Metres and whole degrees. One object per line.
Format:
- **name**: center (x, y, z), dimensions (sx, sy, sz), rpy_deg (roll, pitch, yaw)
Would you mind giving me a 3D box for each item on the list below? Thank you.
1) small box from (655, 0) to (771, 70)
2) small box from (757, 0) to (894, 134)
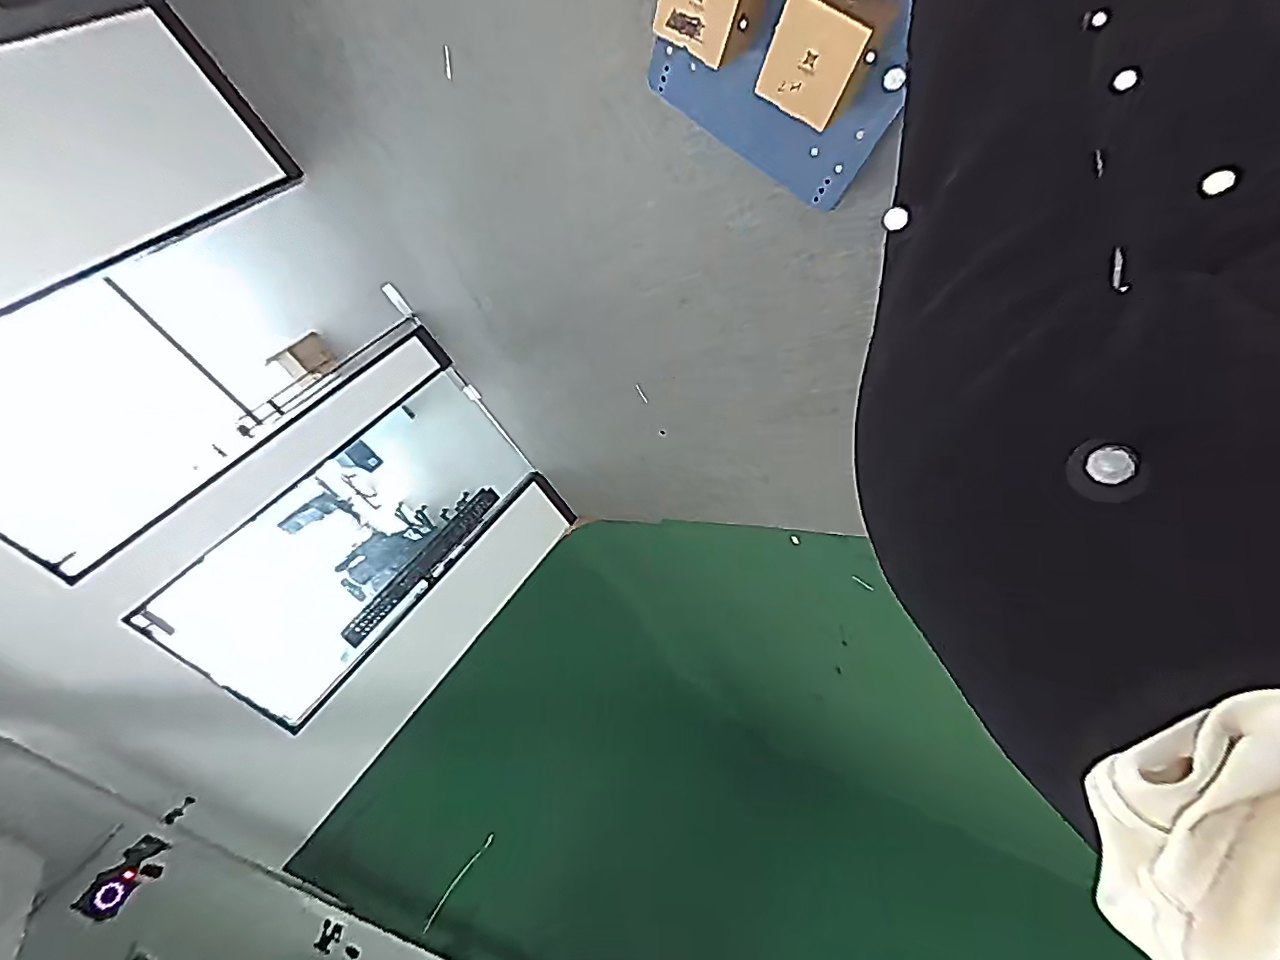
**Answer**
- **small box**: center (0.159, -0.972, 1.072), dimensions (0.168, 0.176, 0.179), rpy_deg (36, 149, 5)
- **small box**: center (0.362, -0.825, 1.046), dimensions (0.168, 0.176, 0.179), rpy_deg (37, 150, 6)
